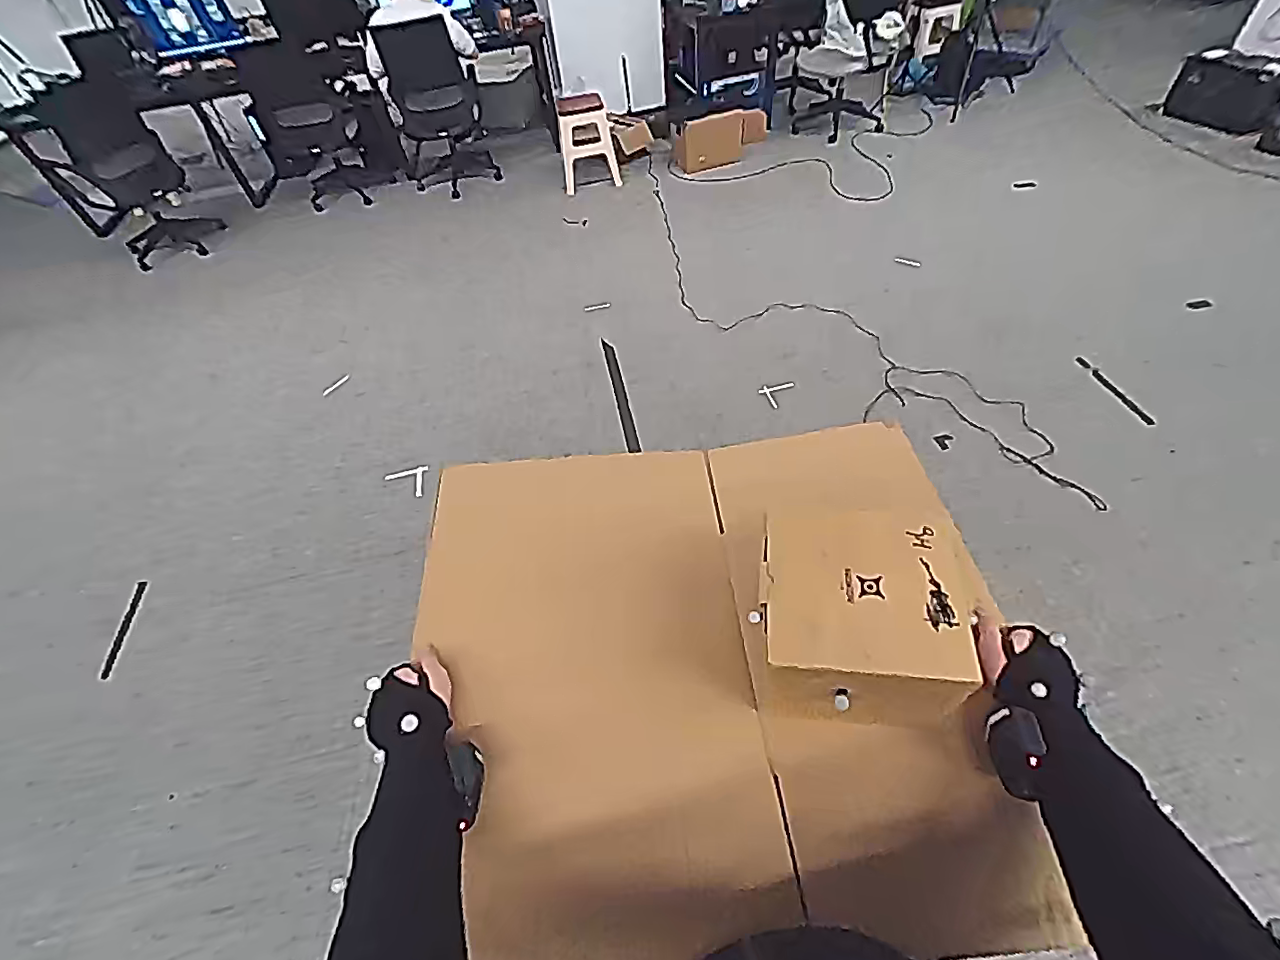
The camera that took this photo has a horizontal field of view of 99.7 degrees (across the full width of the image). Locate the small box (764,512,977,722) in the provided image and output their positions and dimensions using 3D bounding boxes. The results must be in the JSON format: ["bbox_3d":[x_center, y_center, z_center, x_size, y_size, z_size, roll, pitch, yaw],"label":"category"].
[{"bbox_3d":[0.225,0.148,0.578,0.179,0.176,0.168,0,54,13],"label":"small box"}]
